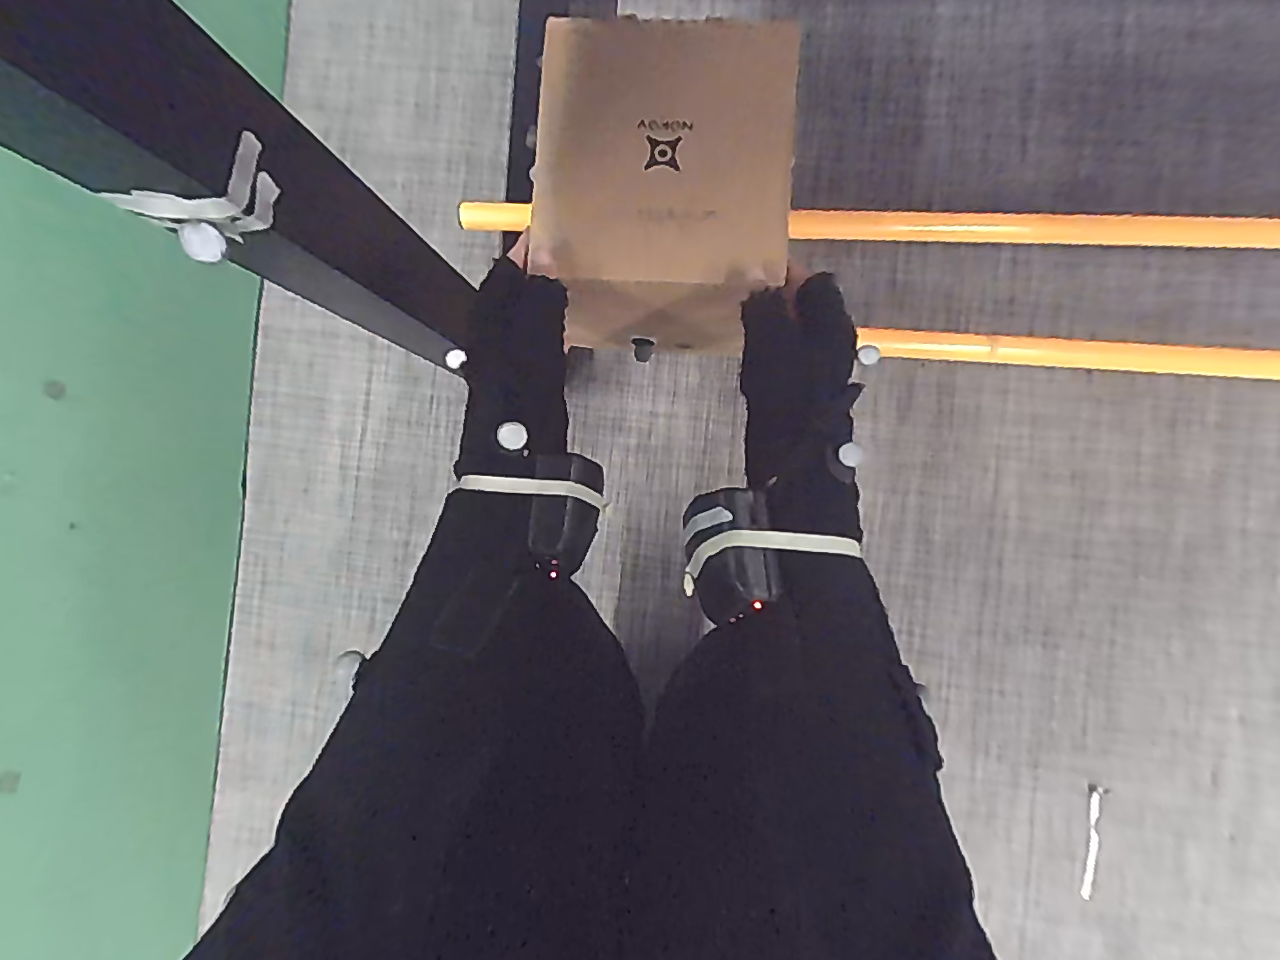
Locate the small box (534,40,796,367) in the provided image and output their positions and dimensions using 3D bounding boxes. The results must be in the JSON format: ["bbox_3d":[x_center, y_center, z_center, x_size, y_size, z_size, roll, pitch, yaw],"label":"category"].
[{"bbox_3d":[0.021,-0.200,0.433,0.168,0.176,0.179,3,88,4],"label":"small box"}]
